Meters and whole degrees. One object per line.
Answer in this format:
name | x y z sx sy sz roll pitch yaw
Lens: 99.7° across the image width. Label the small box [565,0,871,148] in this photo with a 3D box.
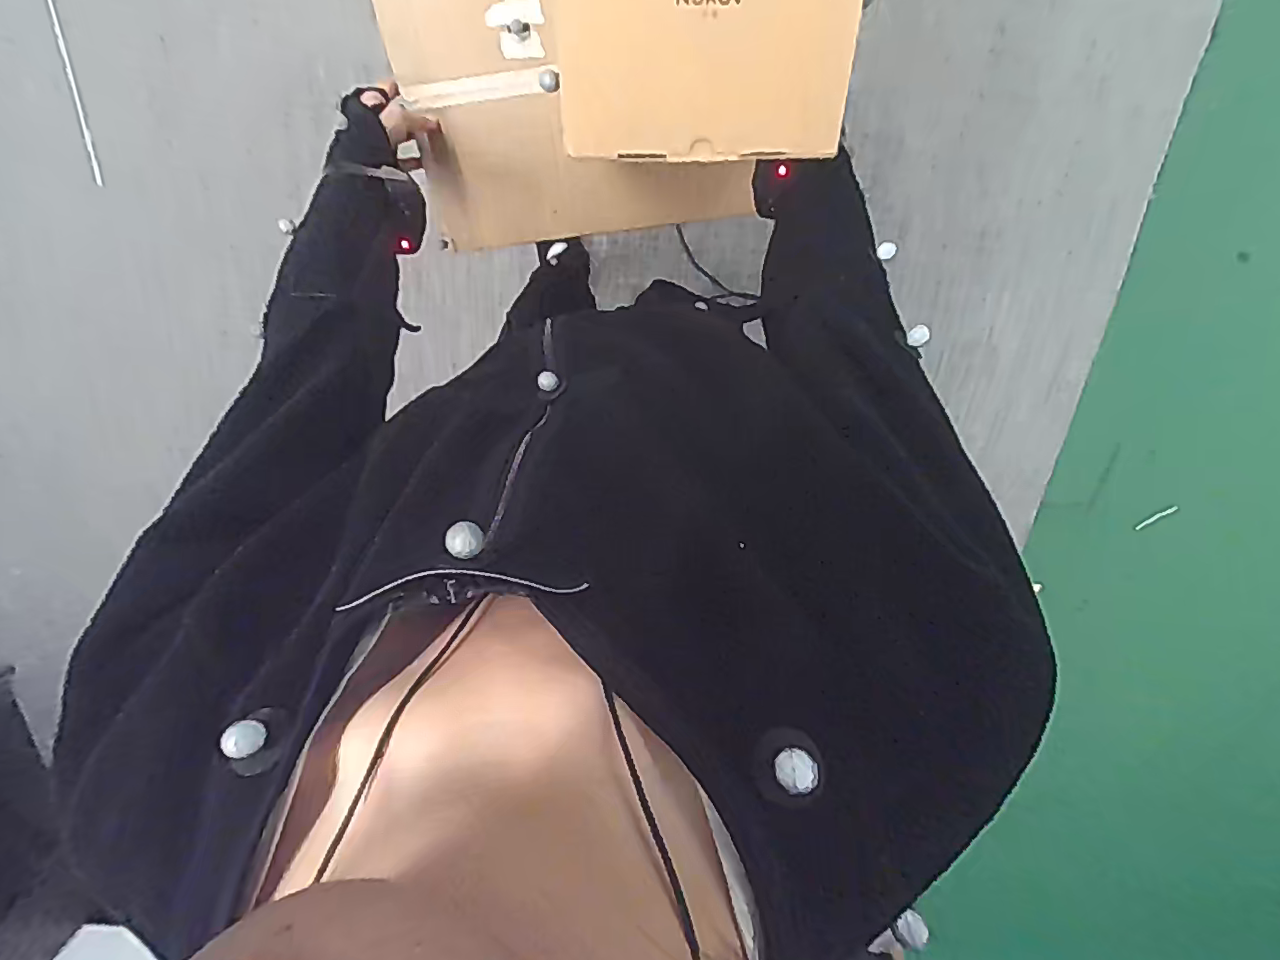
small box | 0.038 -0.317 0.339 0.168 0.176 0.179 -1 126 -1
